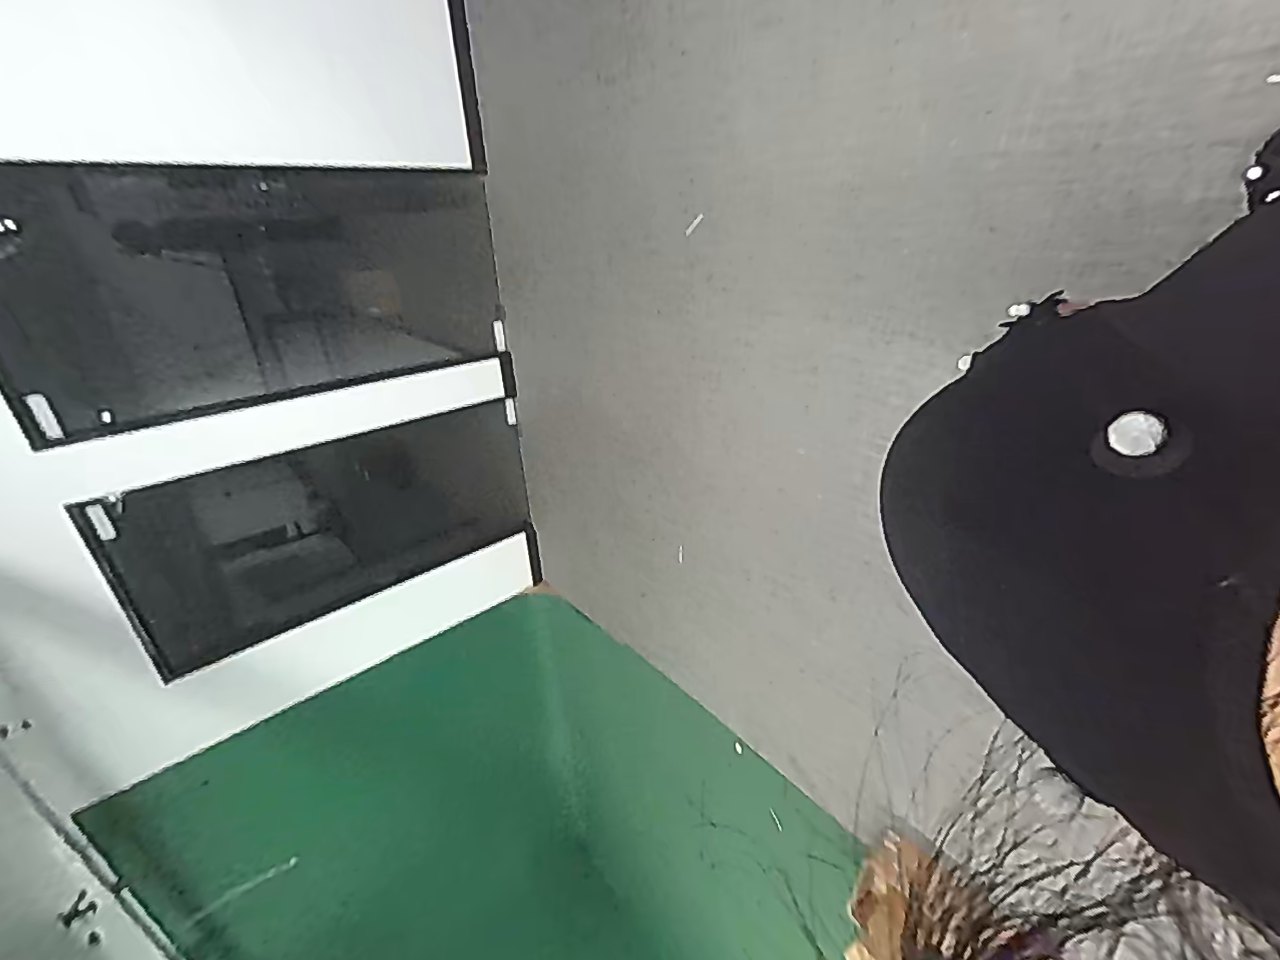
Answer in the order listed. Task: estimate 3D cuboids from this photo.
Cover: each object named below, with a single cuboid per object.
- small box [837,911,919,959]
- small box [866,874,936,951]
[{"bbox_3d":[0.823,1.644,1.870,0.179,0.176,0.168,34,132,36],"label":"small box"},{"bbox_3d":[0.945,1.600,1.971,0.168,0.176,0.179,34,130,36],"label":"small box"}]
